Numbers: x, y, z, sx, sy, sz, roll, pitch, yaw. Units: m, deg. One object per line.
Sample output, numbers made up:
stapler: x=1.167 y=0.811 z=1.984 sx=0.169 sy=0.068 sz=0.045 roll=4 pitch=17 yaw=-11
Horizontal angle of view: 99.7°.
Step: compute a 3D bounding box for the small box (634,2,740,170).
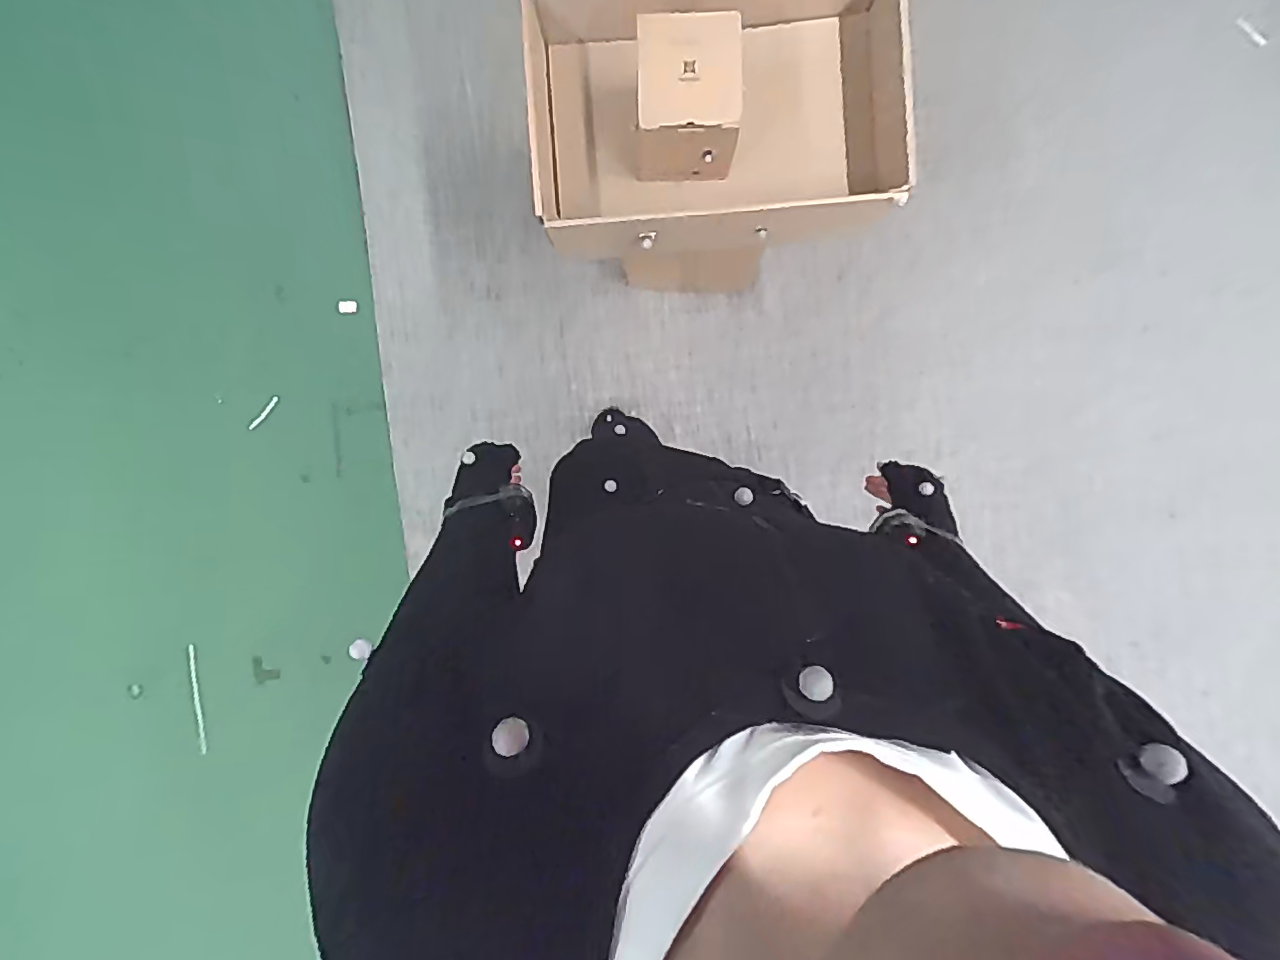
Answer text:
small box: x=0.075 y=-0.653 z=0.919 sx=0.168 sy=0.176 sz=0.179 roll=-2 pitch=91 yaw=-1
